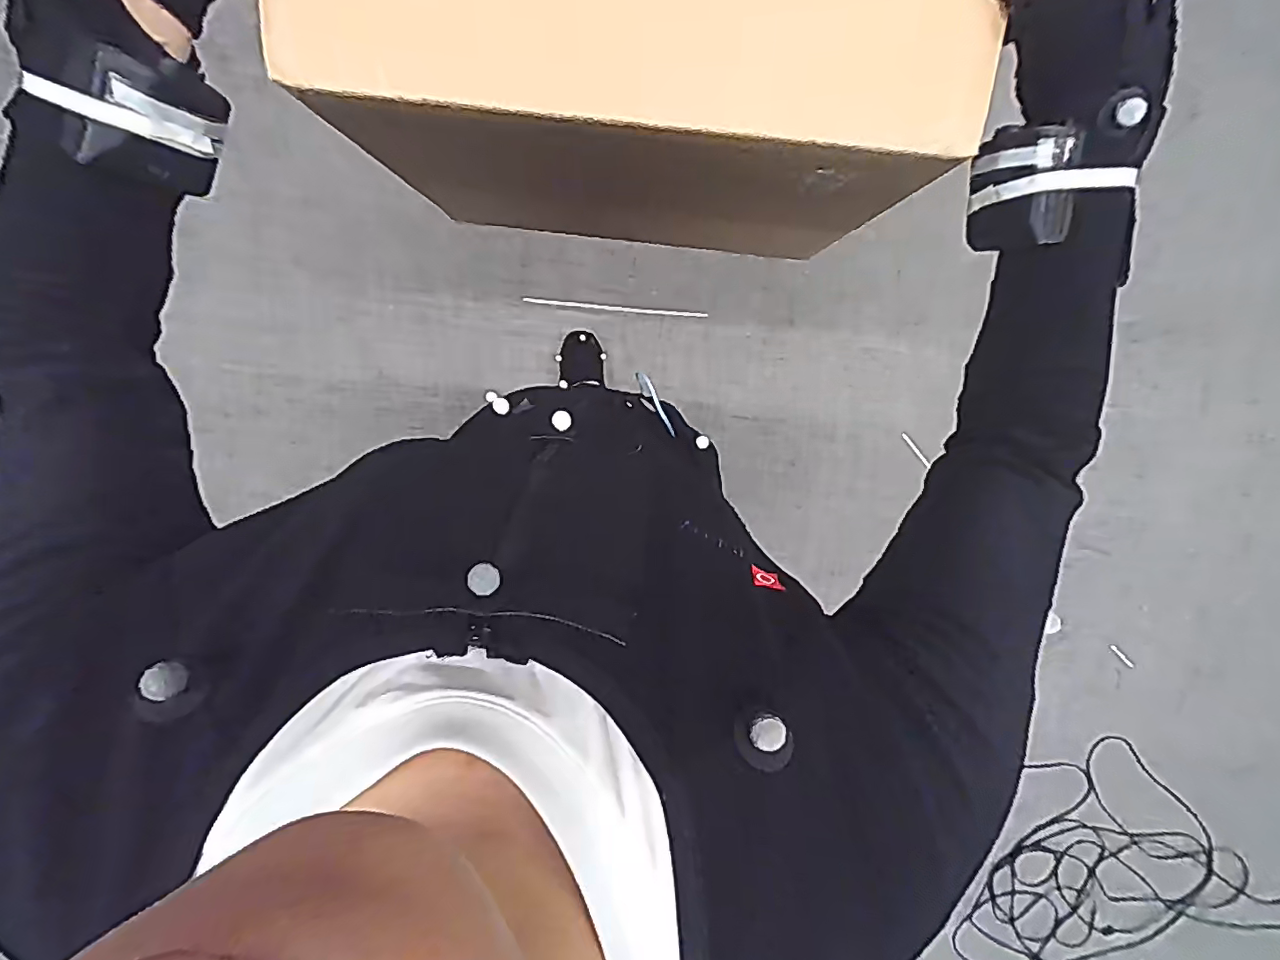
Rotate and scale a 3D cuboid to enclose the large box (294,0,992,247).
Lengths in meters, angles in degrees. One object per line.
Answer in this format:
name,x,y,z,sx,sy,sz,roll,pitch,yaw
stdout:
large box,0.009,-0.395,0.434,0.408,0.320,0.320,5,103,-1
